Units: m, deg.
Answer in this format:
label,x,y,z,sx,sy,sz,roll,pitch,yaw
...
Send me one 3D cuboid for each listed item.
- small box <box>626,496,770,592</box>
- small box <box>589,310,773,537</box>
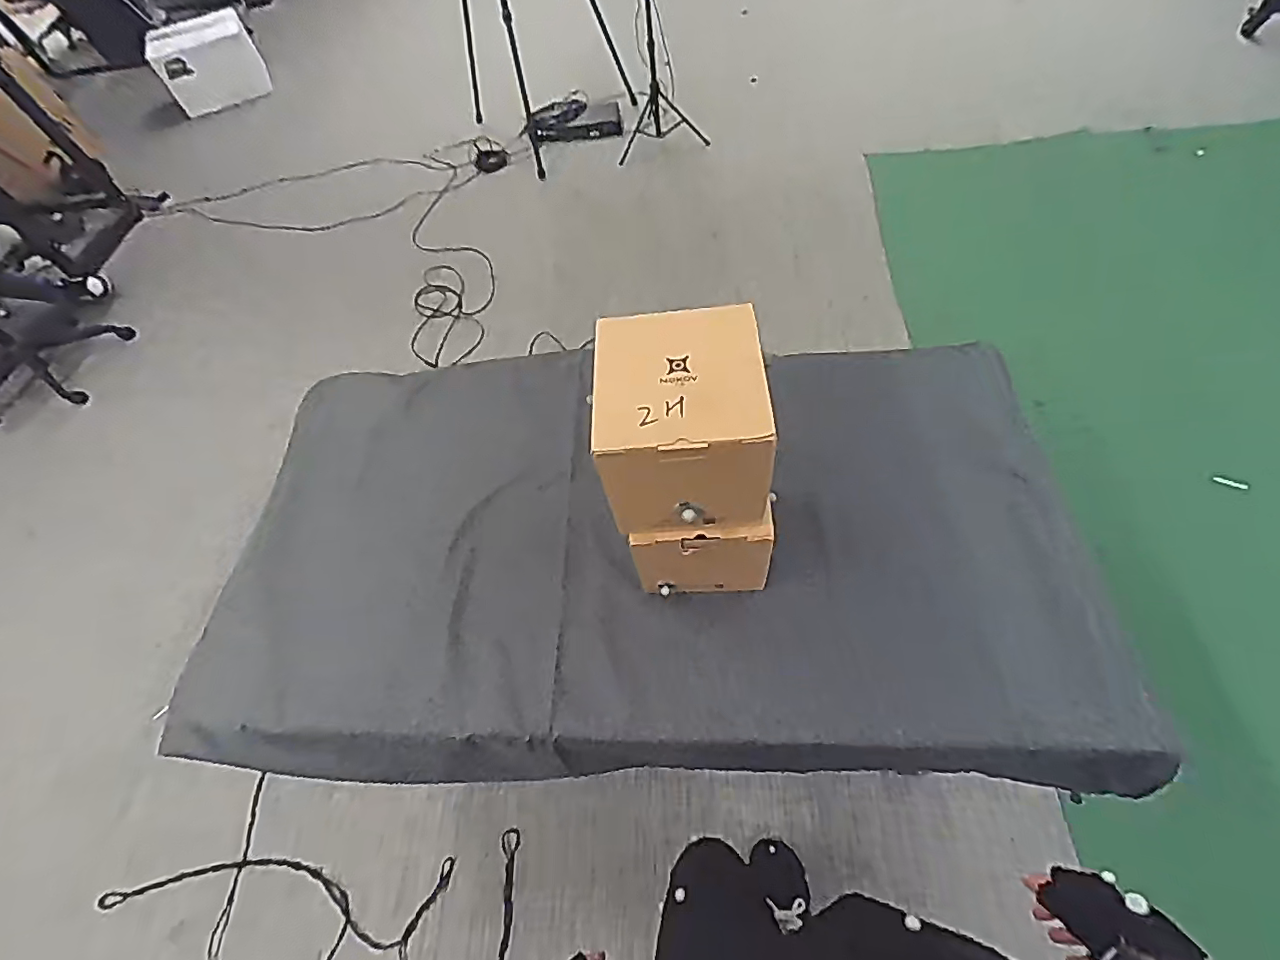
label,x,y,z,sx,sy,sz,roll,pitch,yaw
small box,0.078,0.043,0.715,0.168,0.176,0.179,-3,57,7
small box,0.045,-0.055,0.586,0.168,0.176,0.179,-5,59,6
